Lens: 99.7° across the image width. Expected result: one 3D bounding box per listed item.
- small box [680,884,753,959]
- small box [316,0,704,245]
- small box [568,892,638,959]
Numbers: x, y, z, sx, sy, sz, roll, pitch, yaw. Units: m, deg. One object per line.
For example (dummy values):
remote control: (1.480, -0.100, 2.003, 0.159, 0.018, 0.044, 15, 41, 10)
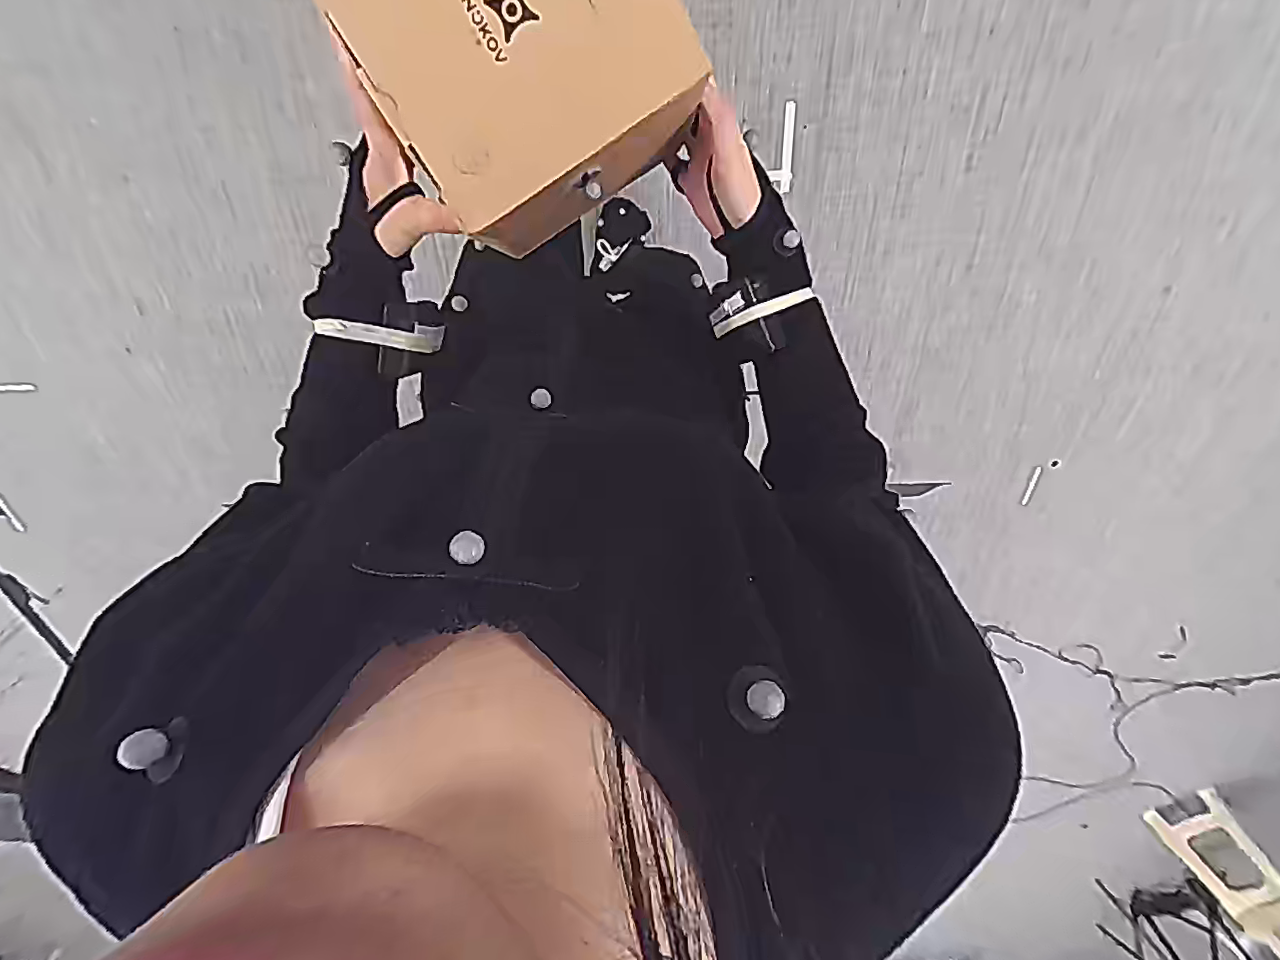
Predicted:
small box: (0.199, 1.207, 1.441, 0.168, 0.176, 0.179, -5, 122, 0)
small box: (-0.078, -0.287, 0.377, 0.179, 0.176, 0.168, -31, 107, 7)
small box: (-0.095, 1.224, 1.436, 0.179, 0.176, 0.168, -4, 122, 1)
